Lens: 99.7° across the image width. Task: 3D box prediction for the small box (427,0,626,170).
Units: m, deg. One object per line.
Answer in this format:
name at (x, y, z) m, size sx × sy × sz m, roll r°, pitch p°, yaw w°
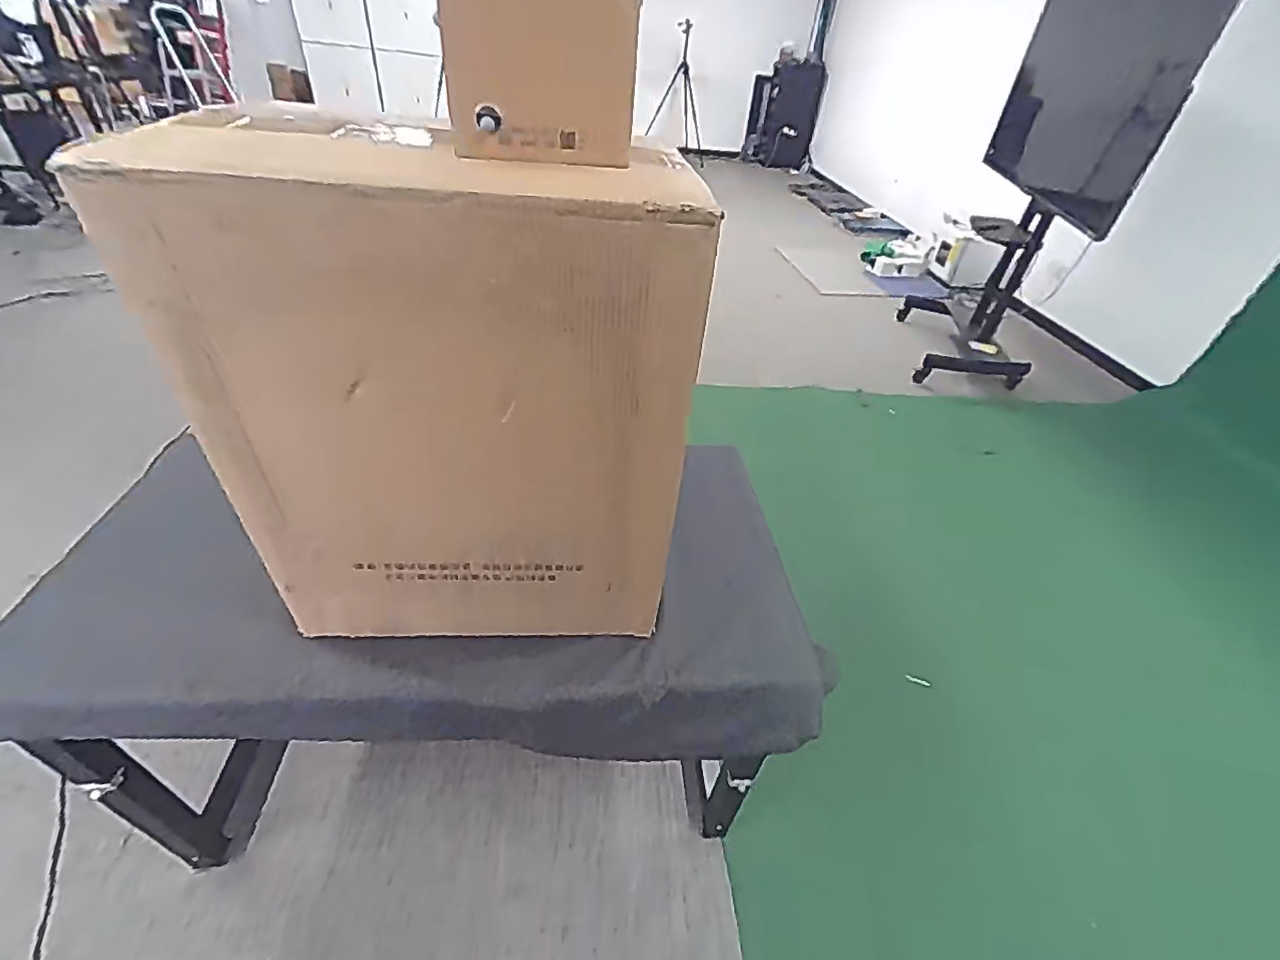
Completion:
small box at (-0.105, -0.413, 0.524) m, size 0.168 × 0.176 × 0.179 m, roll -3°, pitch 41°, yaw -10°
